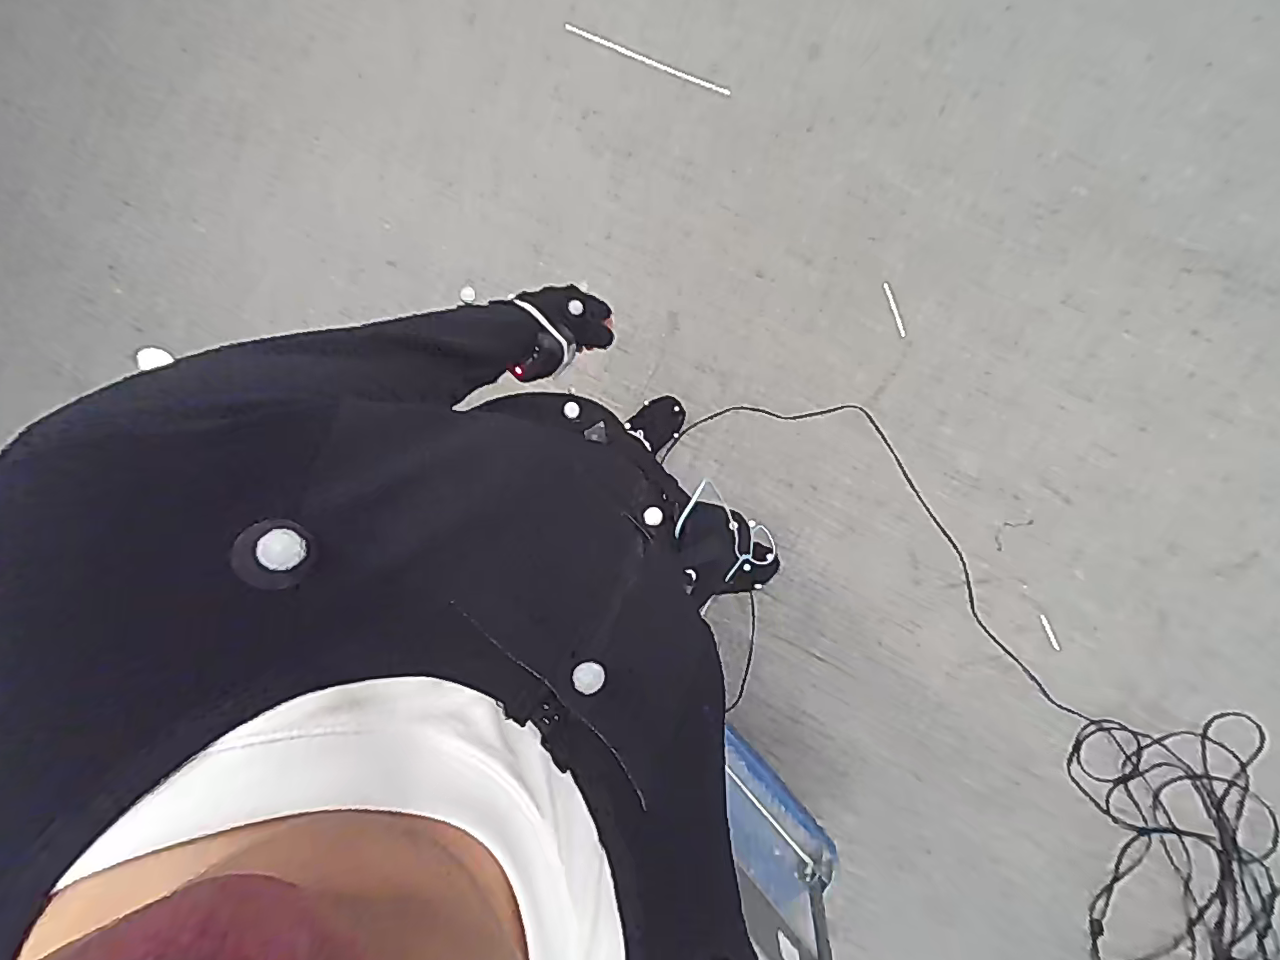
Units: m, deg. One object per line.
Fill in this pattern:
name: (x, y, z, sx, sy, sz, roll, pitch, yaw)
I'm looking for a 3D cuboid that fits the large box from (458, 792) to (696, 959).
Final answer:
large box: (-0.124, 1.008, 1.189, 0.408, 0.320, 0.320, 44, 97, 2)
